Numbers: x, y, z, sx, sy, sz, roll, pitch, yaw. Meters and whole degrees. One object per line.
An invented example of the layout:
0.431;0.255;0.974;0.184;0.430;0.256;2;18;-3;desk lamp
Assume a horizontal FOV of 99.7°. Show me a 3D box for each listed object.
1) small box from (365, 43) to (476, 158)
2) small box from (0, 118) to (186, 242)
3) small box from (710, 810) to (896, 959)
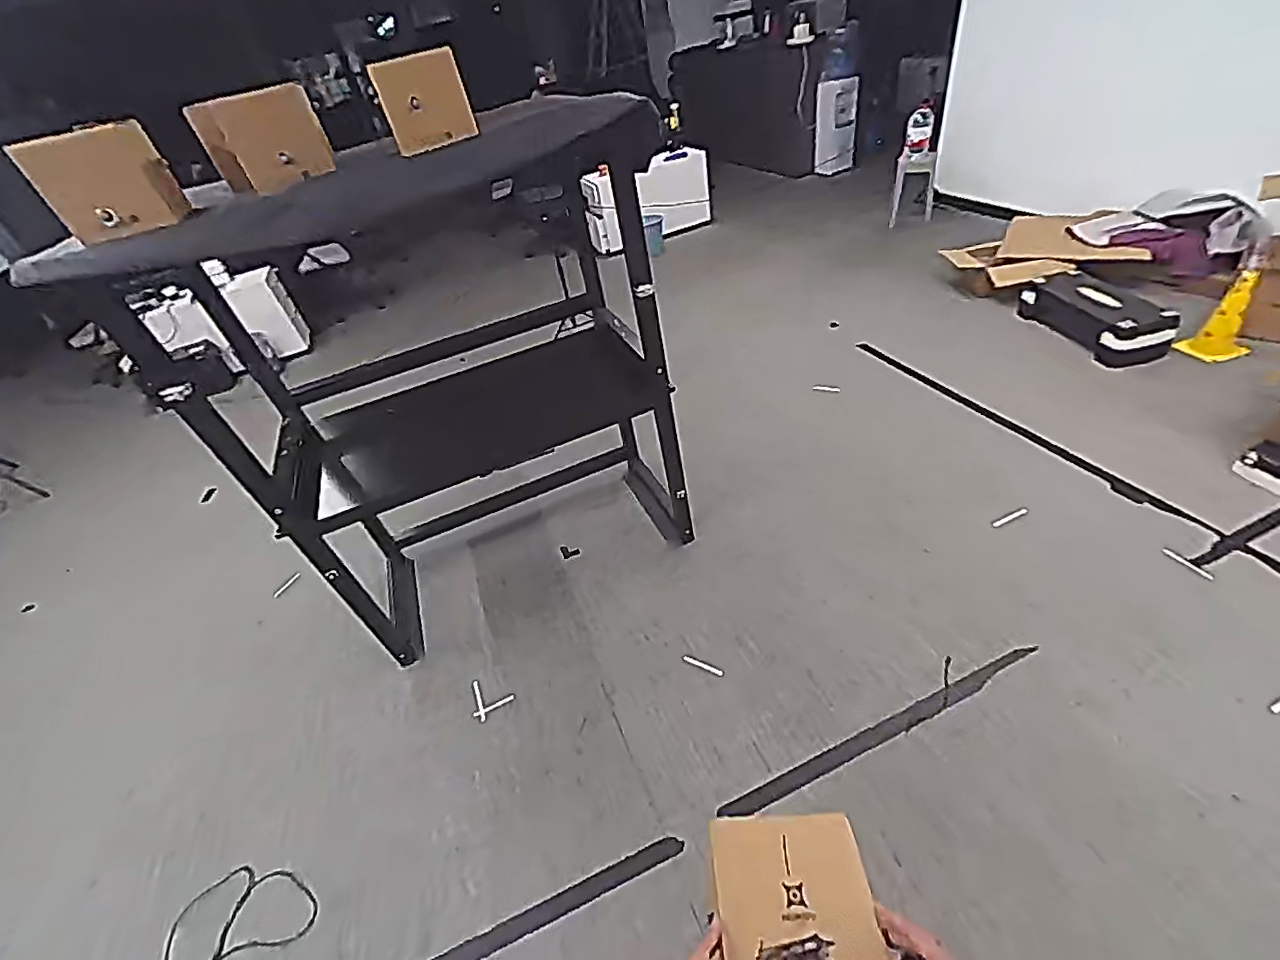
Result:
-0.469;-0.811;1.164;0.168;0.176;0.179;-23;39;-12;small box
-1.015;-0.568;1.025;0.168;0.176;0.179;-24;41;-13;small box
0.171;0.504;0.610;0.168;0.176;0.179;-3;37;0;small box
